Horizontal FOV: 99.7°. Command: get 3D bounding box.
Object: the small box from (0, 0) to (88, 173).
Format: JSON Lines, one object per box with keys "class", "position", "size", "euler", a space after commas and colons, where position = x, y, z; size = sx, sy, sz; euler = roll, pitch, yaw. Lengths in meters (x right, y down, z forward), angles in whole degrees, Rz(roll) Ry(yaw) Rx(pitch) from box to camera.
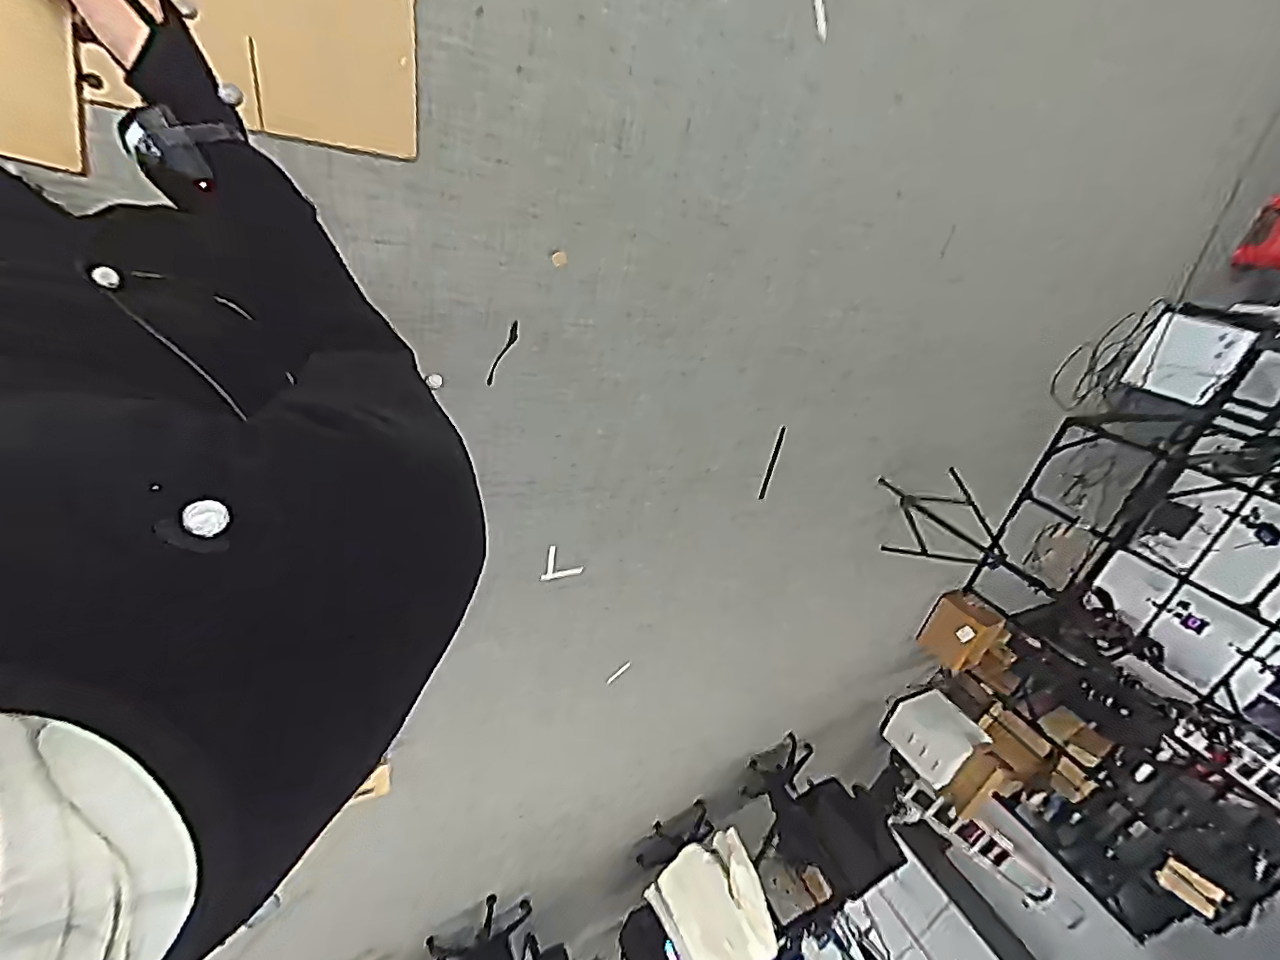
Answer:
{"class": "small box", "position": [-0.544, -0.358, 0.413], "size": [0.168, 0.176, 0.179], "euler": [-3, 114, -44]}
